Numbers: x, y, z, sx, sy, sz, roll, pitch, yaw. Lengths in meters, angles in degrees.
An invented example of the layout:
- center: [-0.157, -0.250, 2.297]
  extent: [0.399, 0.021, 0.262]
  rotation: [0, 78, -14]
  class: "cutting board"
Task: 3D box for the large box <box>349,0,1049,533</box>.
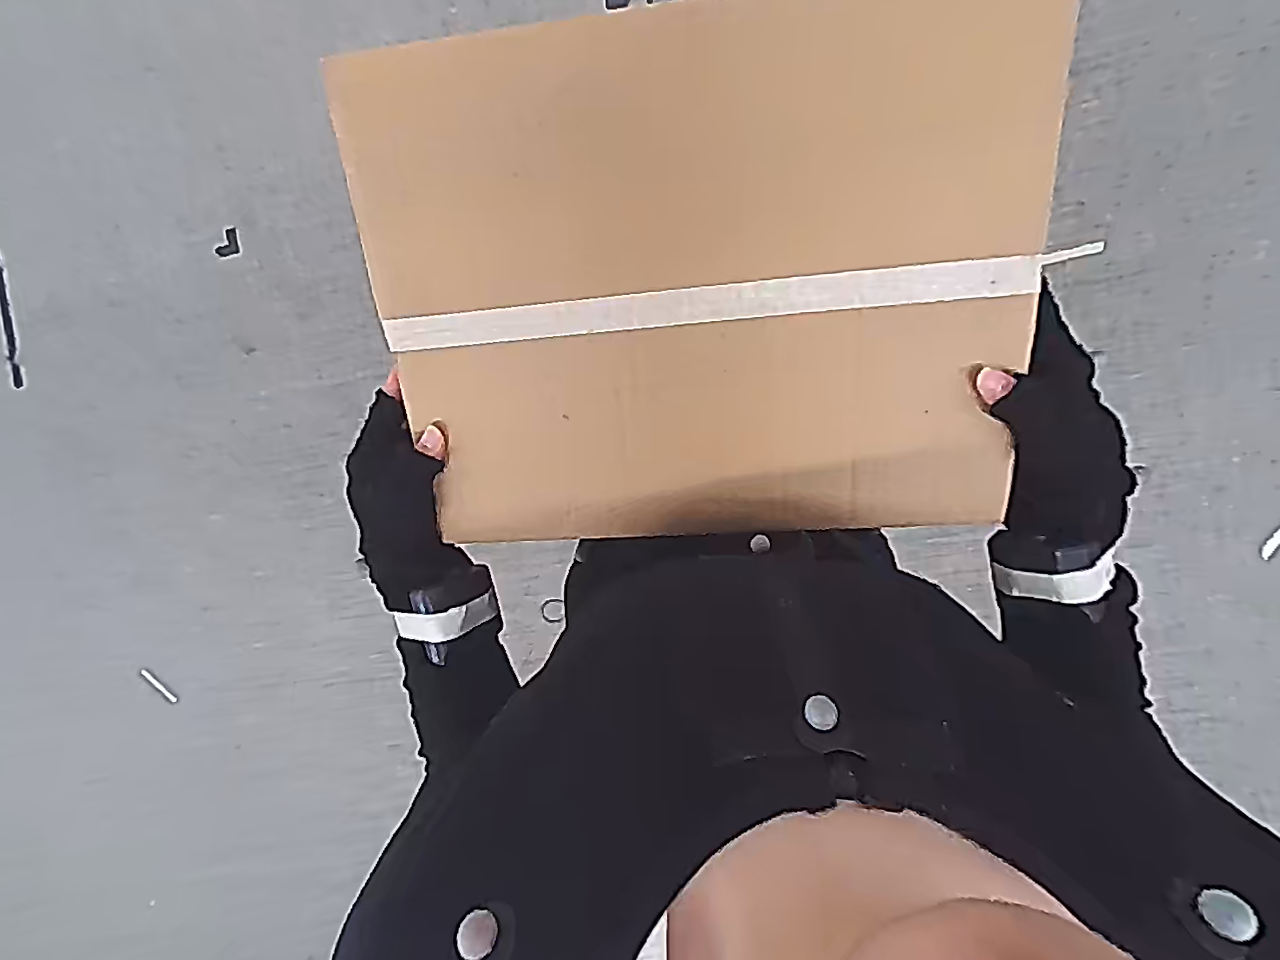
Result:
- center: [0.045, -0.164, 0.491]
  extent: [0.408, 0.320, 0.320]
  rotation: [-3, 111, 7]
  class: "large box"
